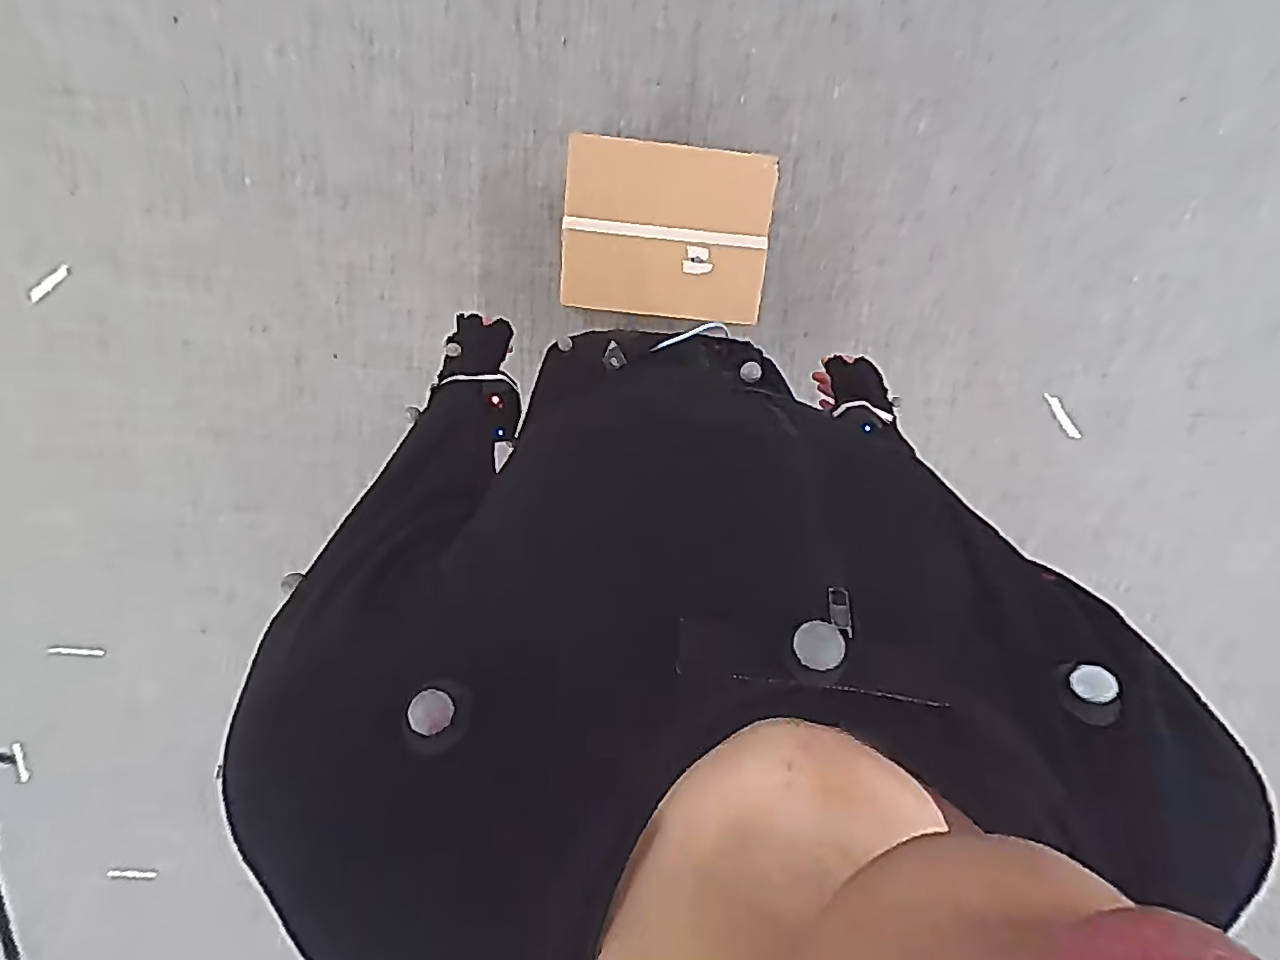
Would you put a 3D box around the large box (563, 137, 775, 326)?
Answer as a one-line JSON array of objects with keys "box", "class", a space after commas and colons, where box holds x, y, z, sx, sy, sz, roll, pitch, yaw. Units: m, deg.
[{"box": [0.045, -0.525, 1.215, 0.408, 0.320, 0.320, 5, 105, -4], "class": "large box"}]
